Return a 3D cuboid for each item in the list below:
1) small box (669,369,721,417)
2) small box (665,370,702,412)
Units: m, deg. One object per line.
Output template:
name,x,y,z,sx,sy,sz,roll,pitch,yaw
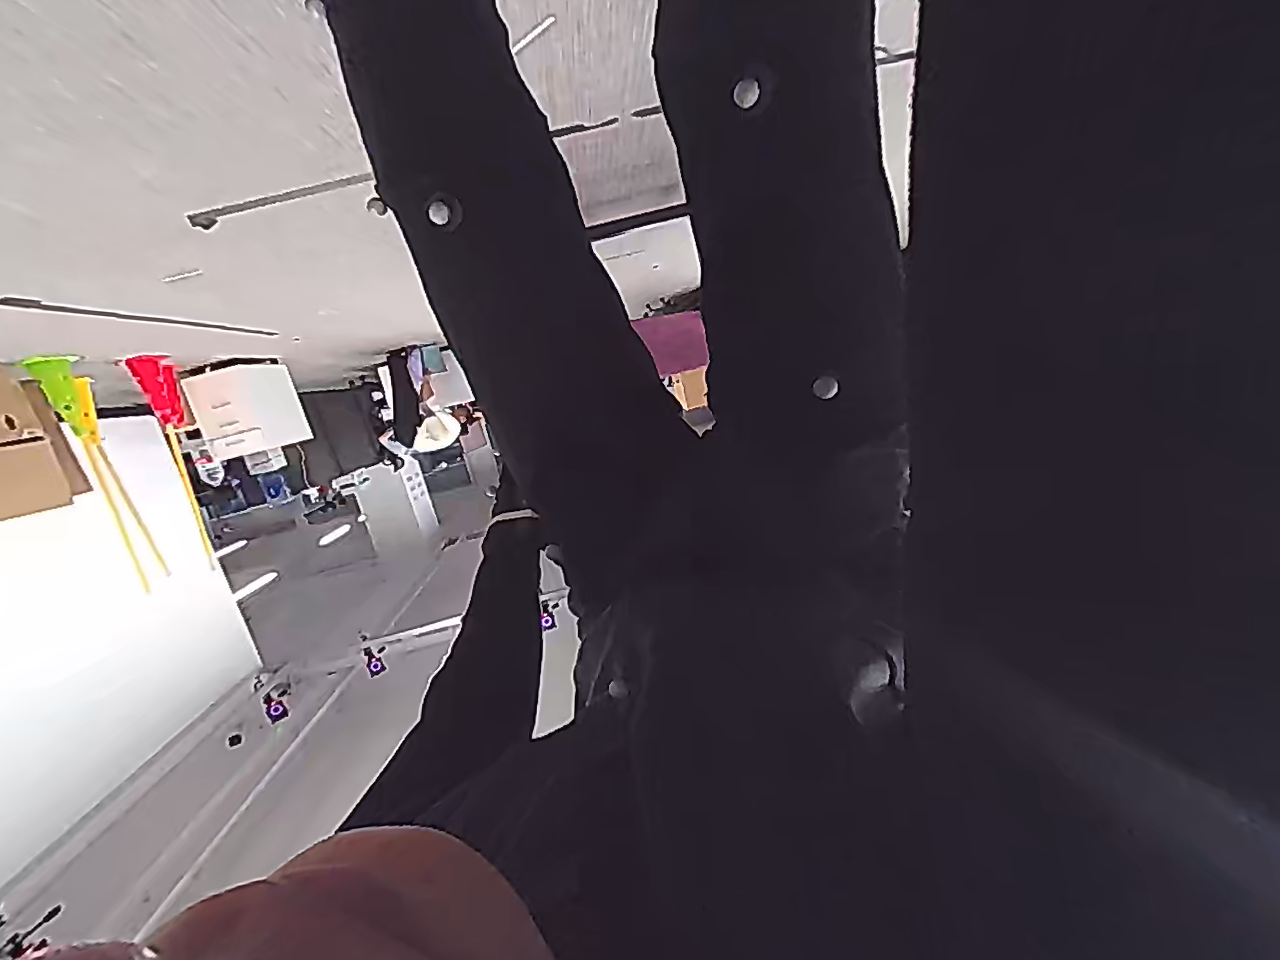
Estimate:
small box,0.238,-0.386,2.378,0.179,0.176,0.168,-14,-169,-2
small box,0.231,-0.432,2.615,0.179,0.176,0.168,-14,-170,0
